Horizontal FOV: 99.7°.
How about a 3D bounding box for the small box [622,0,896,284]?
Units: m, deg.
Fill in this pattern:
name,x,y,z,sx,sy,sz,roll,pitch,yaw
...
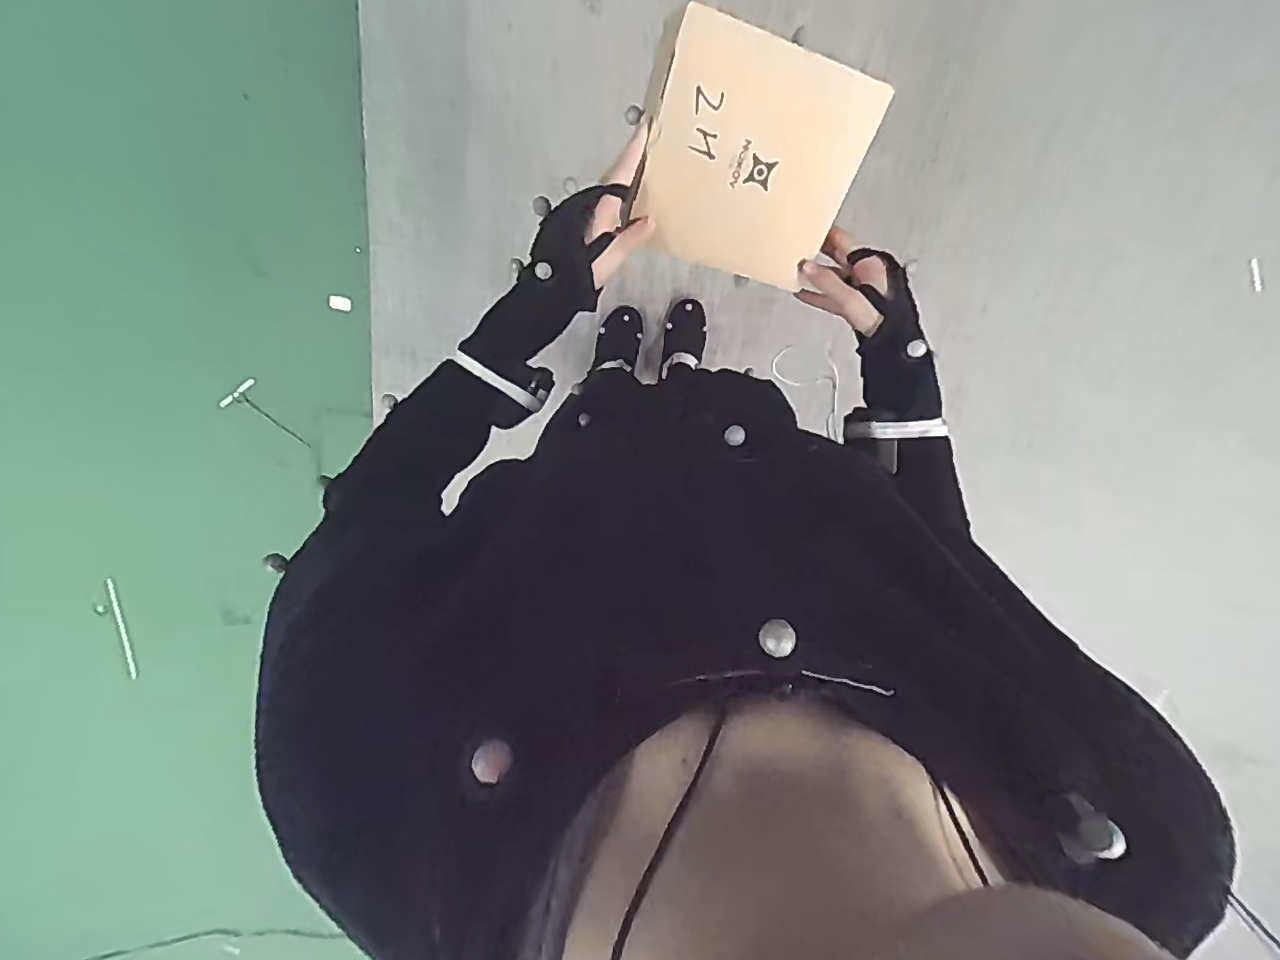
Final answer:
name,x,y,z,sx,sy,sz,roll,pitch,yaw
small box,0.088,-0.308,0.503,0.179,0.176,0.168,13,124,-12
